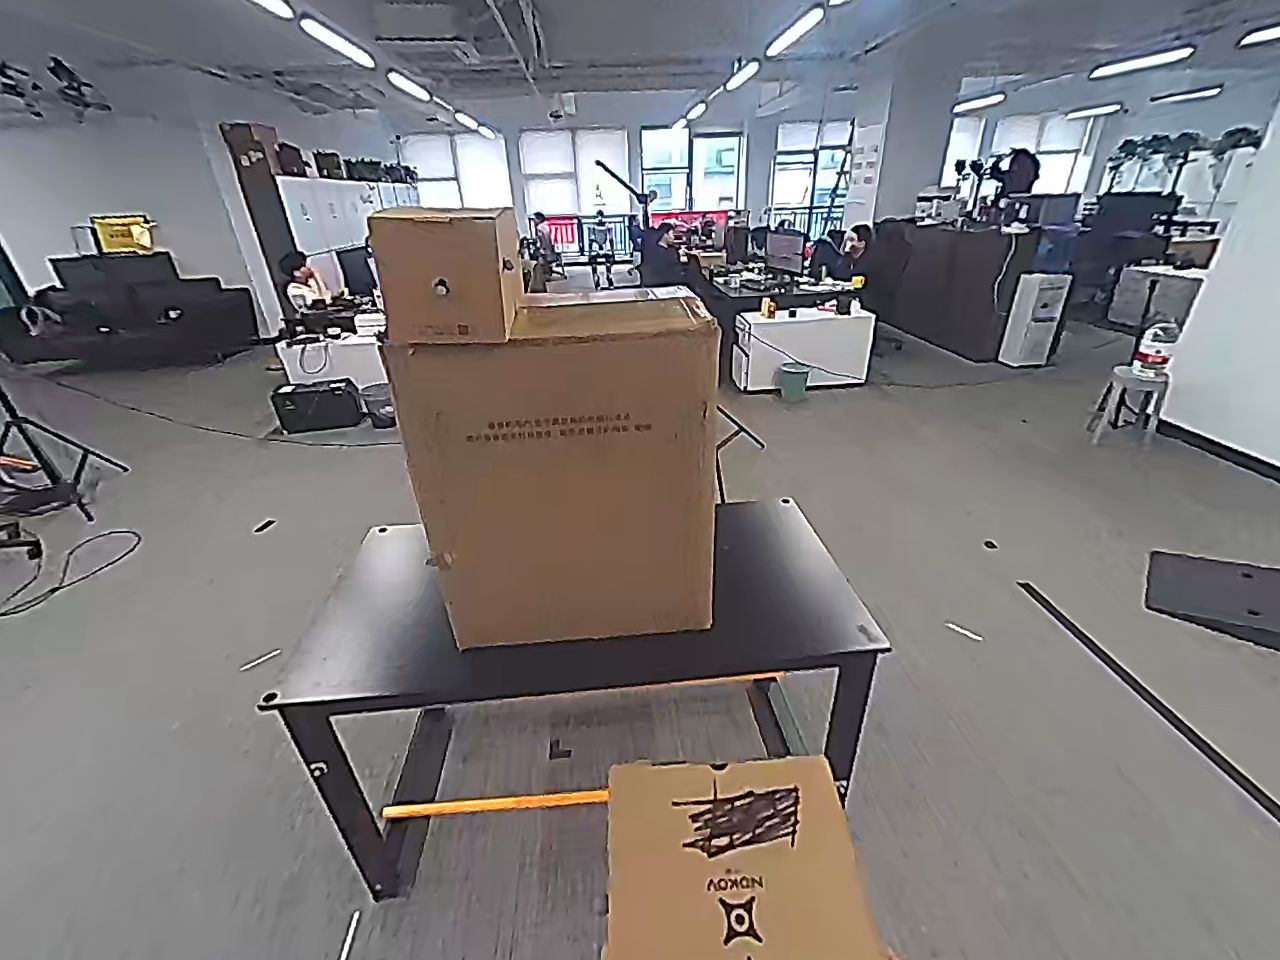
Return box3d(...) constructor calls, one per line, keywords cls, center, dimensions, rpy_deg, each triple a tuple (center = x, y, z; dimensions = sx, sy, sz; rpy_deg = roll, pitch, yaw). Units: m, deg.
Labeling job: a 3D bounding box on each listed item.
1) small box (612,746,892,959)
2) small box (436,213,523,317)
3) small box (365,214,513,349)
box3d(cls="small box", center=(0.064, 0.321, 0.391), dimensions=(0.168, 0.176, 0.179), rpy_deg=(-3, 40, -2))
box3d(cls="small box", center=(-0.311, -0.389, 0.986), dimensions=(0.168, 0.176, 0.179), rpy_deg=(-5, 27, -4))
box3d(cls="small box", center=(-0.287, -0.300, 0.816), dimensions=(0.168, 0.176, 0.179), rpy_deg=(-3, 30, -7))
